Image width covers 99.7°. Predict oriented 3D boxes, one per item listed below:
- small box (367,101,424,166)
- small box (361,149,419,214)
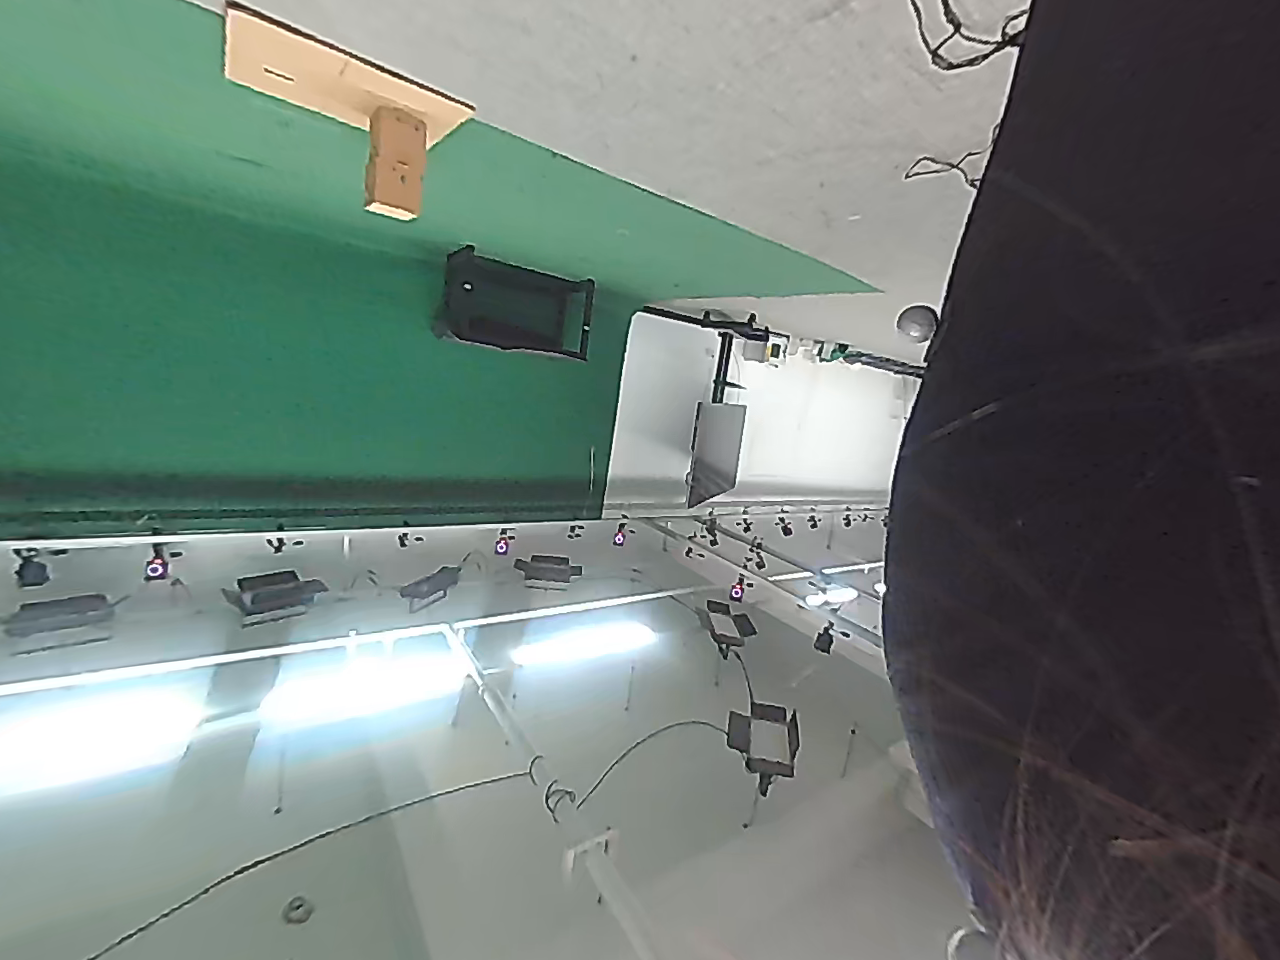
[{"bbox_3d":[-0.936,-1.315,2.070,0.168,0.176,0.179,-1,-164,-39],"label":"small box"},{"bbox_3d":[-0.972,-1.161,2.107,0.168,0.176,0.179,-1,-166,-40],"label":"small box"}]
